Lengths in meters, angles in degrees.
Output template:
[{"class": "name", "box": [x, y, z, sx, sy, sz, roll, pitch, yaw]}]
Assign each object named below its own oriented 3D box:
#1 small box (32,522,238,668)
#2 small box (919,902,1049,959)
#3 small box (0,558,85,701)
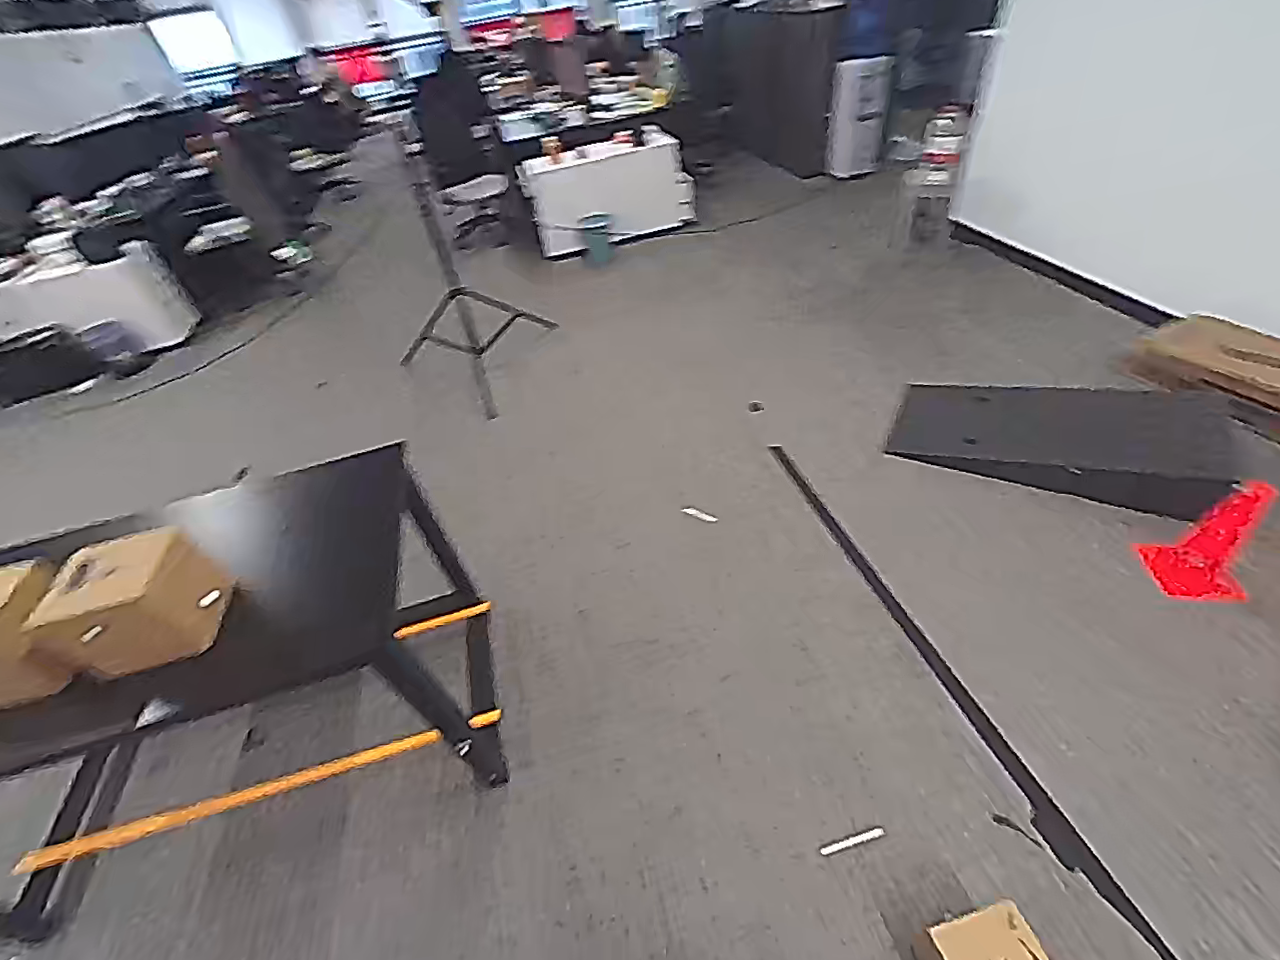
[{"class": "small box", "box": [-0.875, 0.208, 0.962, 0.179, 0.176, 0.168, -15, 43, -6]}, {"class": "small box", "box": [0.642, 0.916, 0.994, 0.179, 0.176, 0.168, -15, 43, -4]}, {"class": "small box", "box": [-1.108, 0.268, 0.941, 0.179, 0.176, 0.168, -15, 43, -5]}]
